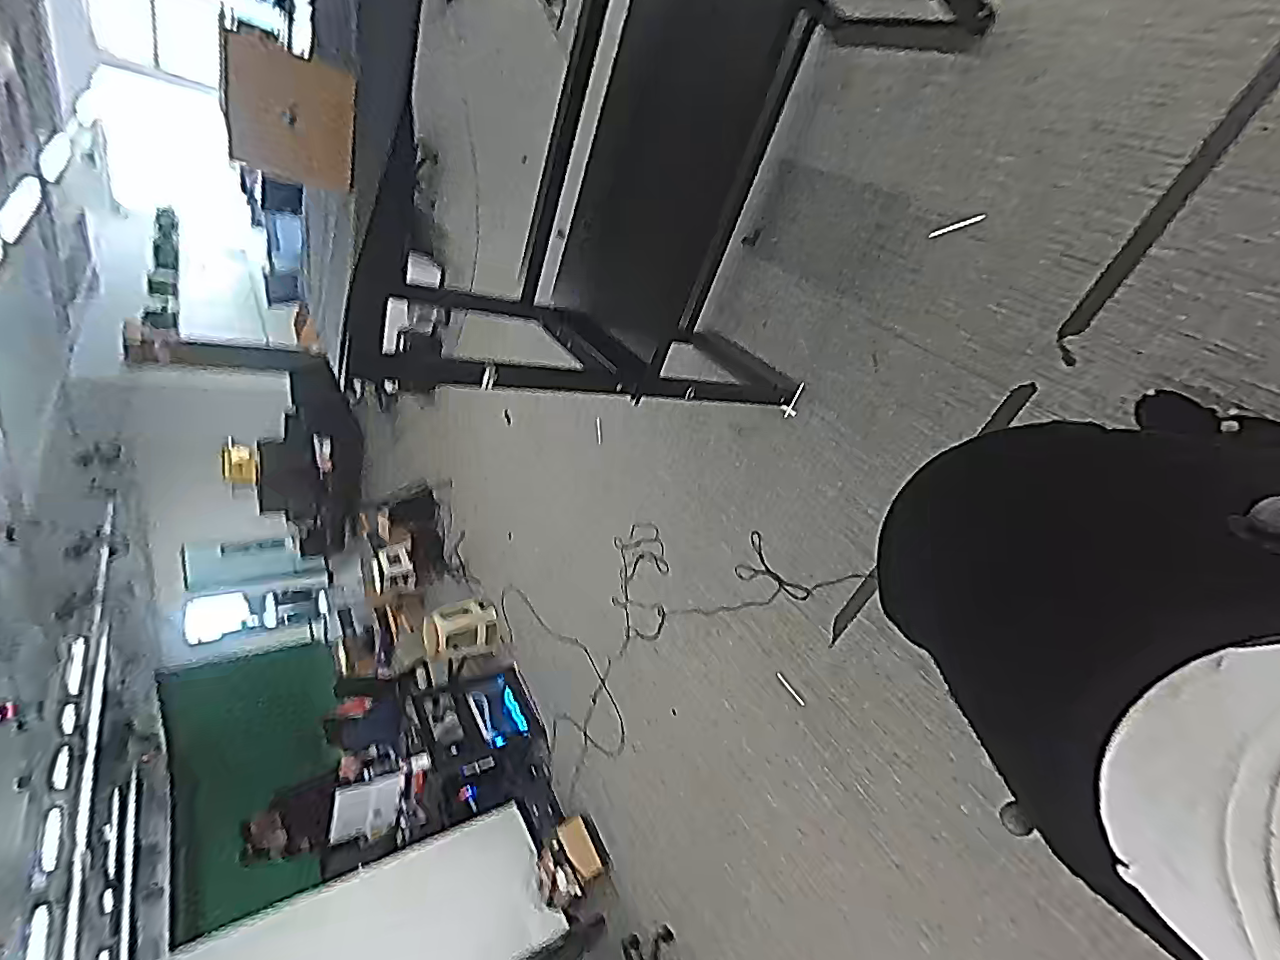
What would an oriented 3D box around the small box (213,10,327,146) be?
[{"bbox_3d":[-0.733,-0.790,1.073,0.179,0.176,0.168,47,126,38],"label":"small box"}]
